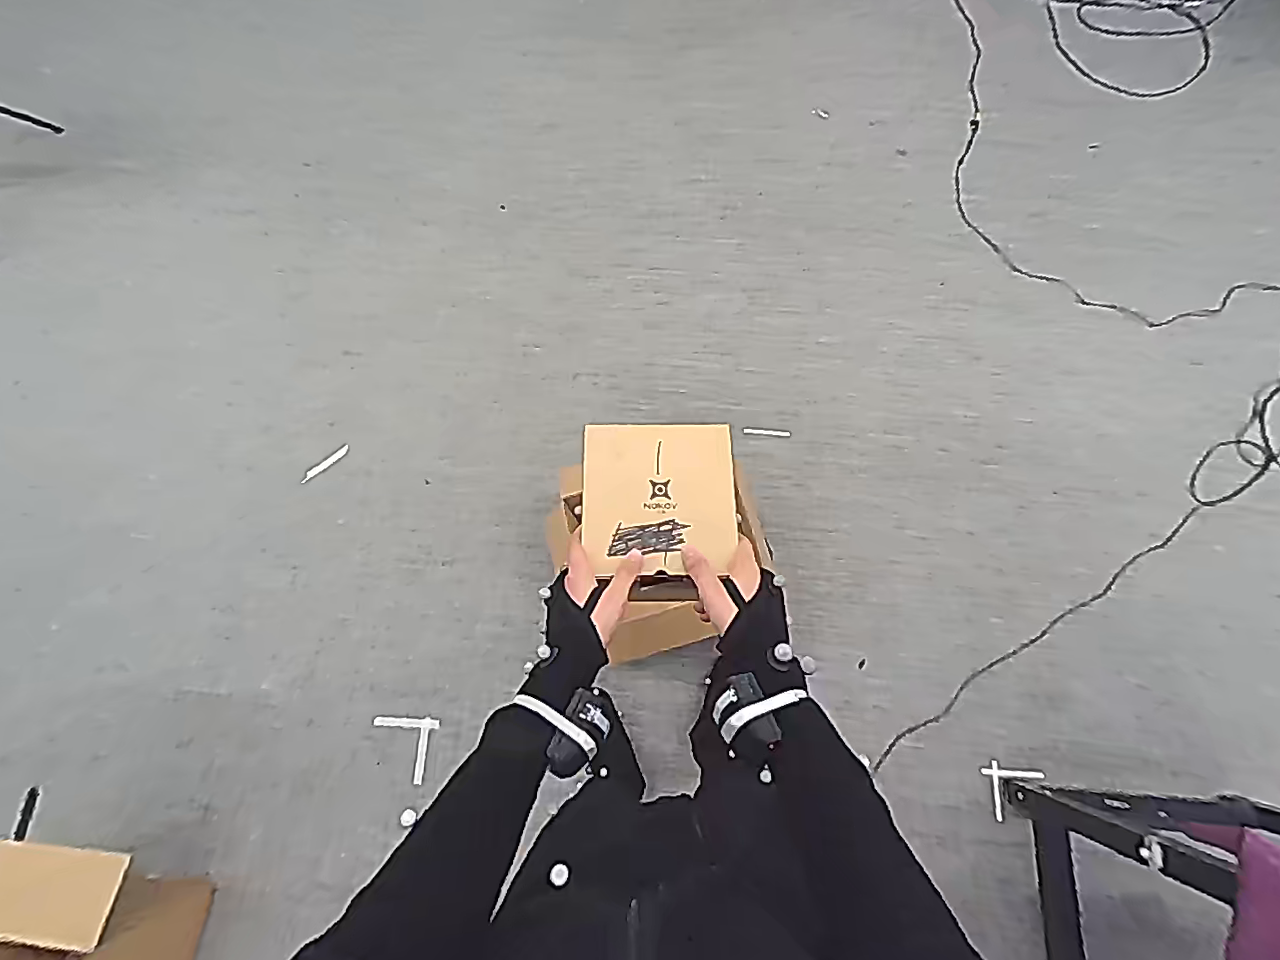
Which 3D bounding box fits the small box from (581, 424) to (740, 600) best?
[{"bbox_3d":[0.021,0.047,0.651,0.168,0.176,0.179,0,68,-2],"label":"small box"}]
